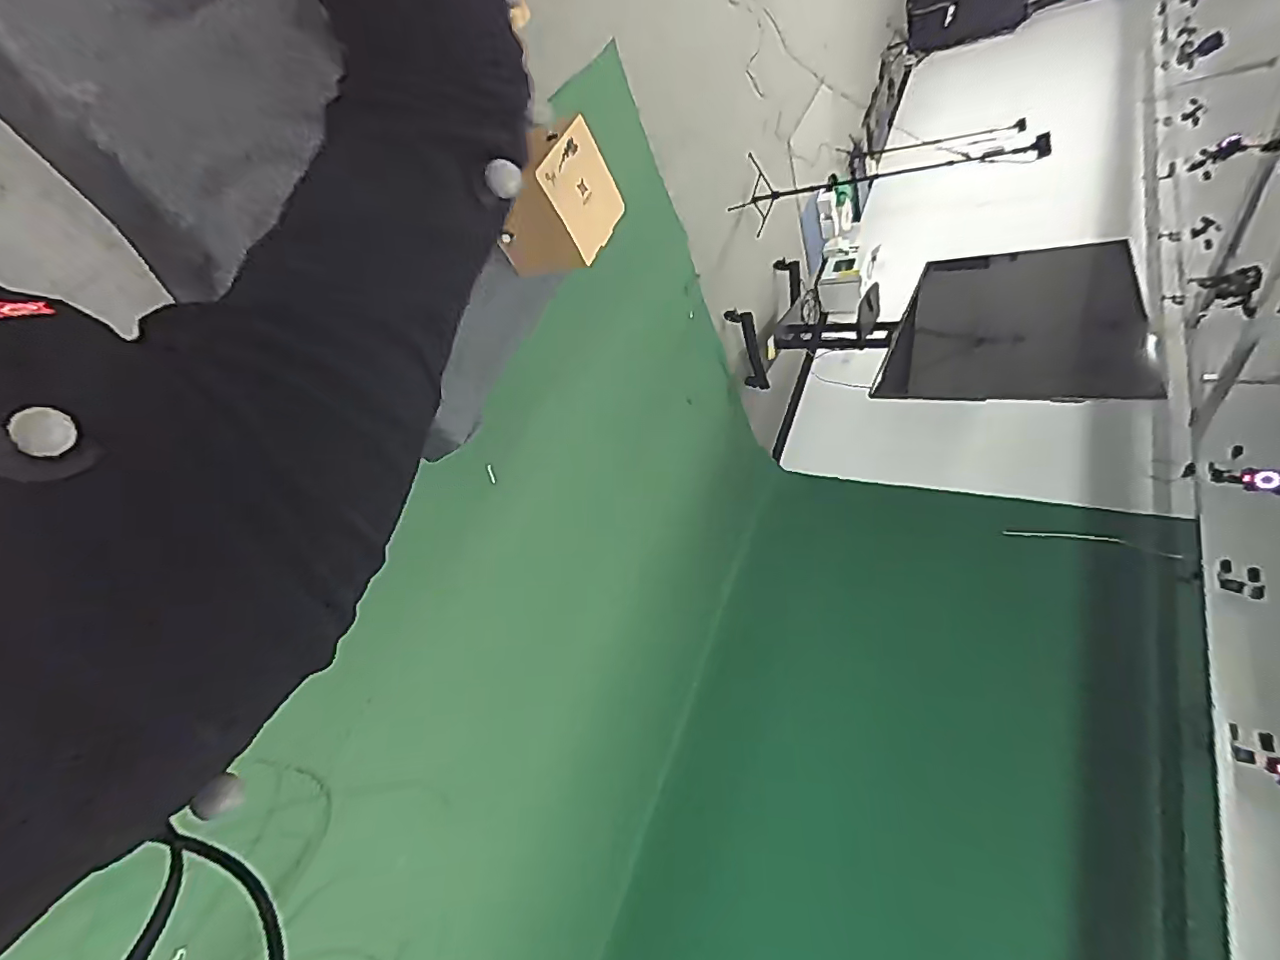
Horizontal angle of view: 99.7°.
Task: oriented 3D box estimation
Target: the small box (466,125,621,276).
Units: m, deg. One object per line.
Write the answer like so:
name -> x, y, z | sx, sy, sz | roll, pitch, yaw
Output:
small box -> -0.167, -0.482, 0.960 | 0.179, 0.176, 0.168 | 53, 52, -47
